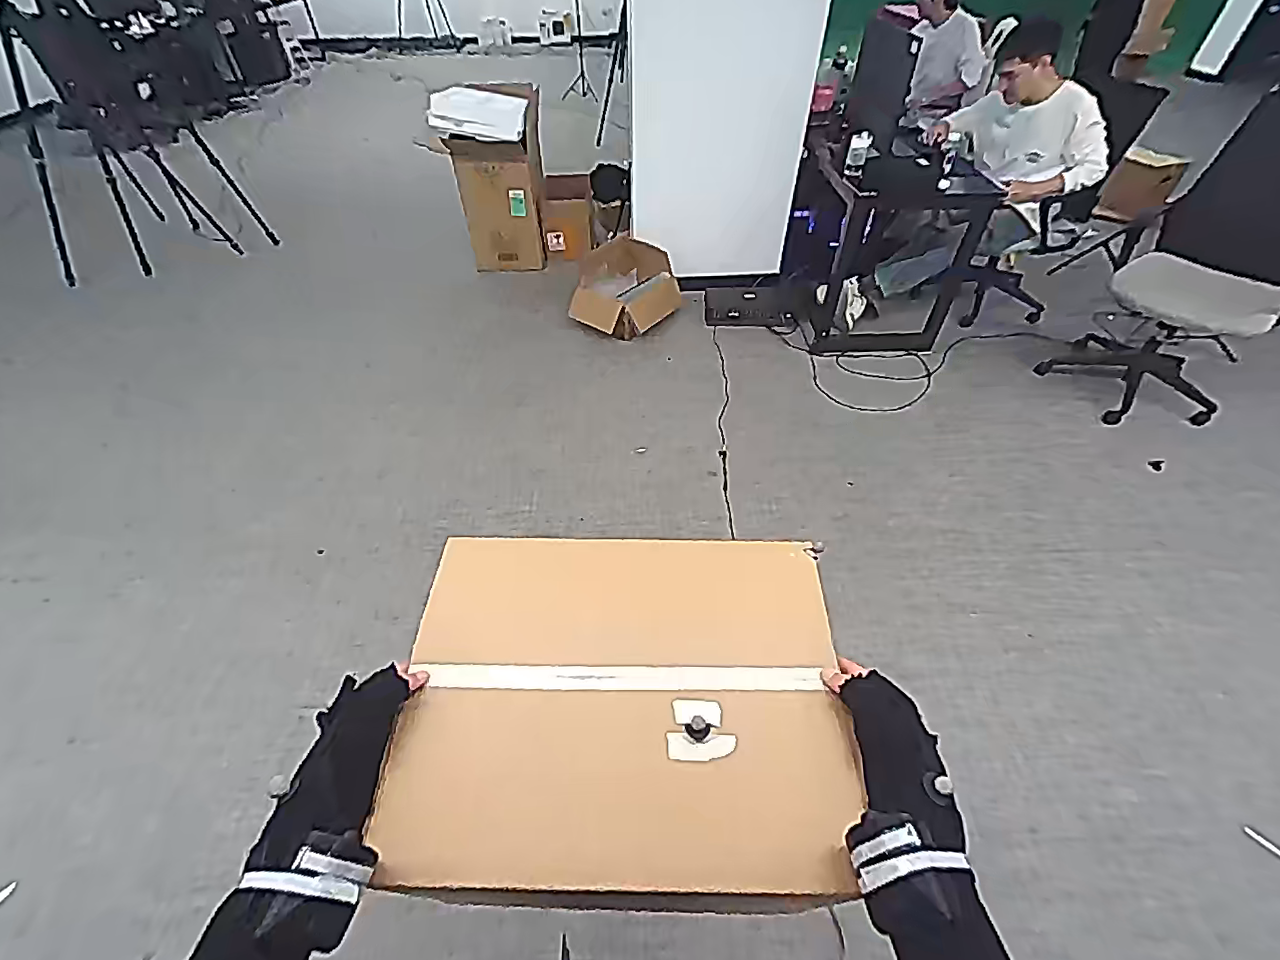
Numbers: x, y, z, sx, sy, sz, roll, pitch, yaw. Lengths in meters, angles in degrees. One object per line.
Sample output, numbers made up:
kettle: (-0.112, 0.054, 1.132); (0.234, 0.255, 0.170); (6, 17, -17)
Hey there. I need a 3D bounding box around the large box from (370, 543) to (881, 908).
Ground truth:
large box: (-0.013, 0.286, 0.622); (0.408, 0.320, 0.320); (1, 50, 0)
